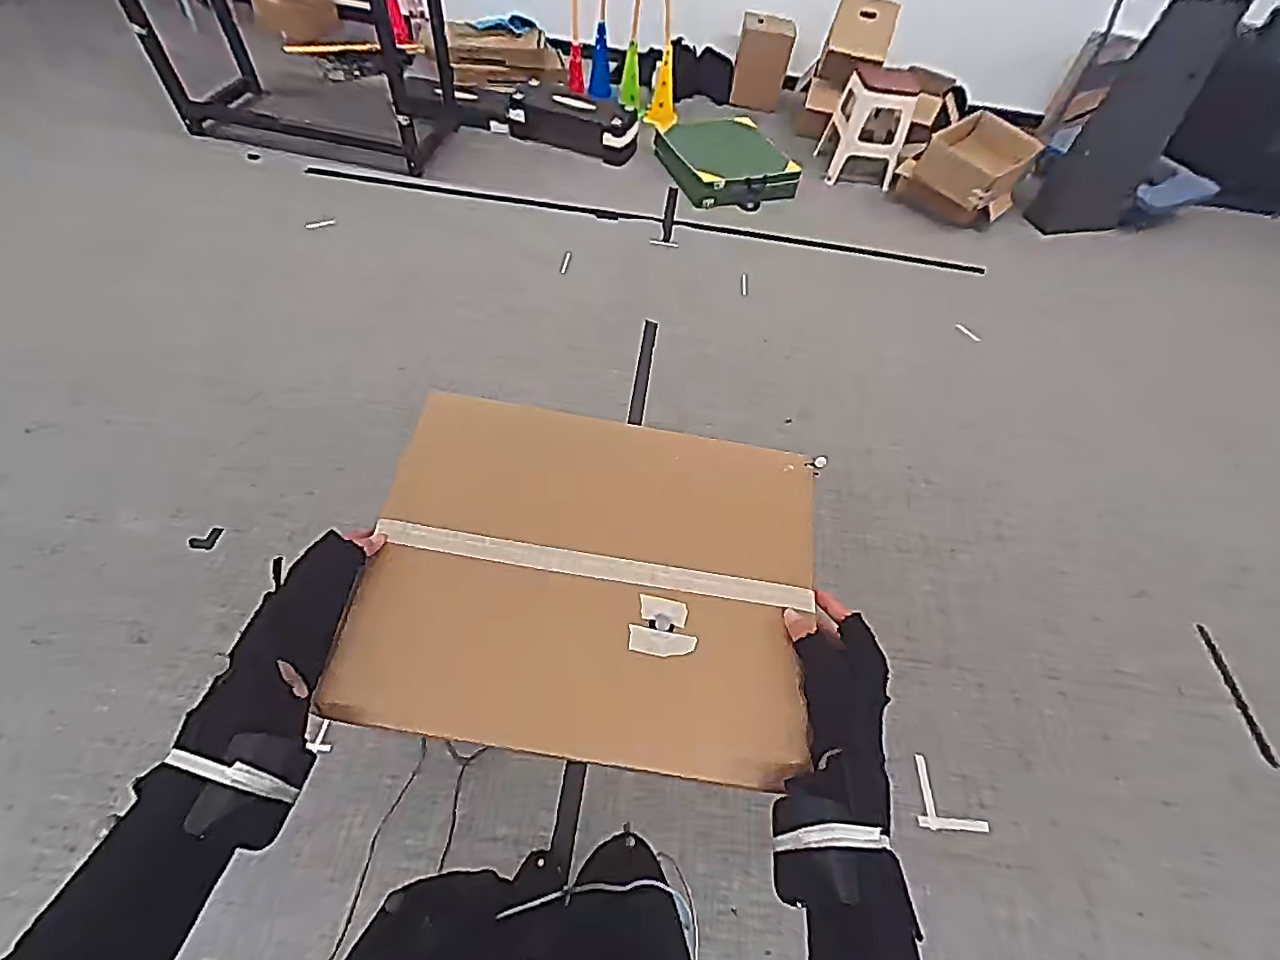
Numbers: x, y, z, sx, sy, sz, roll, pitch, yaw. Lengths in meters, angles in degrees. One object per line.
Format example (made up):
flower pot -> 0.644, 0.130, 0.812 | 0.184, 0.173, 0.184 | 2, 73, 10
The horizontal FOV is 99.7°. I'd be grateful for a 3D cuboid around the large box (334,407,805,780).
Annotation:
large box -> -0.053, 0.151, 0.646 | 0.408, 0.320, 0.320 | 10, 64, -1
